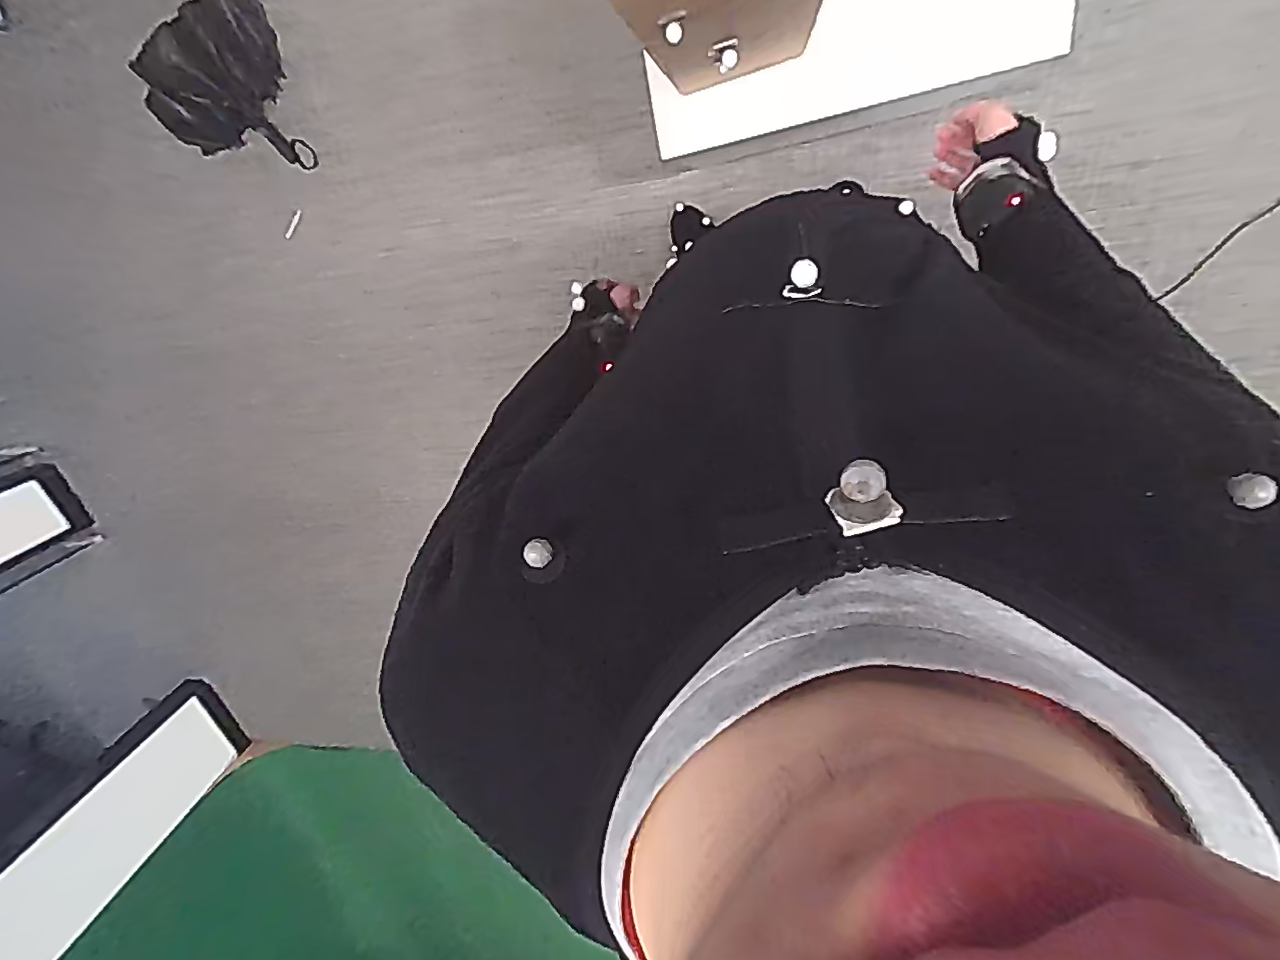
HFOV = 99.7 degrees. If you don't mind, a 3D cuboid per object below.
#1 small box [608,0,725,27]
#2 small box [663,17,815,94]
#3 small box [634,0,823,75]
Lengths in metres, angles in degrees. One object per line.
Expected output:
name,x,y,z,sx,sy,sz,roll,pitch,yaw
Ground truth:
small box,0.036,-0.420,0.331,0.168,0.176,0.179,-10,113,18
small box,0.100,-0.574,0.616,0.168,0.176,0.179,-7,118,15
small box,0.069,-0.496,0.473,0.168,0.176,0.179,-9,116,17
